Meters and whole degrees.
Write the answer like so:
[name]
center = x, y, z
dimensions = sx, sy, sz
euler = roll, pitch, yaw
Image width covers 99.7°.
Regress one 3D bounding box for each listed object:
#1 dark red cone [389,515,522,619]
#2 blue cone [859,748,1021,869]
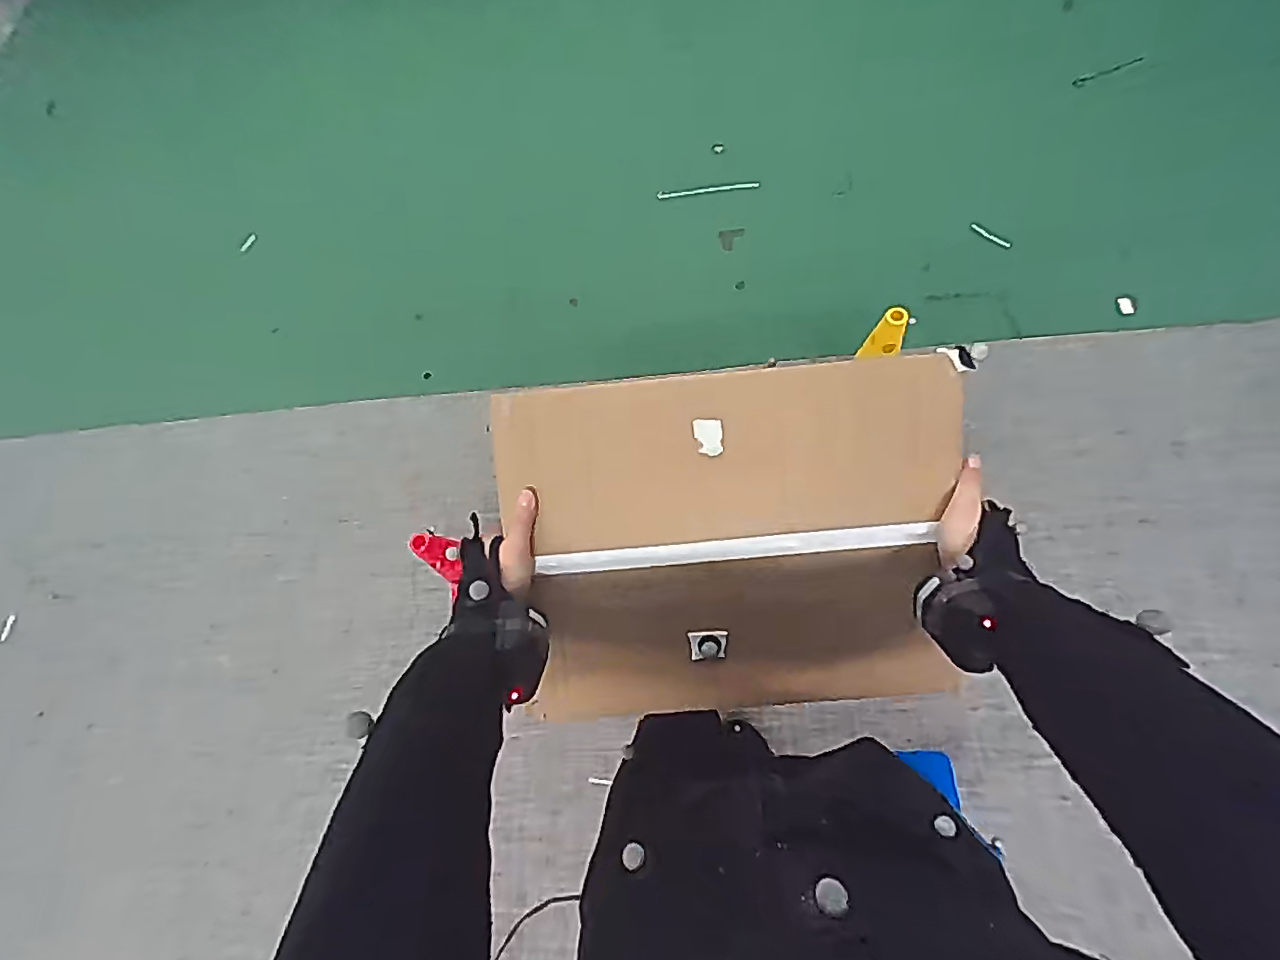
[dark red cone]
center = -0.408, 0.160, 1.166
dimensions = 0.202, 0.394, 0.201
euler = -11, 65, 5
[blue cone]
center = 0.508, 0.569, 0.895
dimensions = 0.192, 0.380, 0.193
euler = -4, 69, 7
